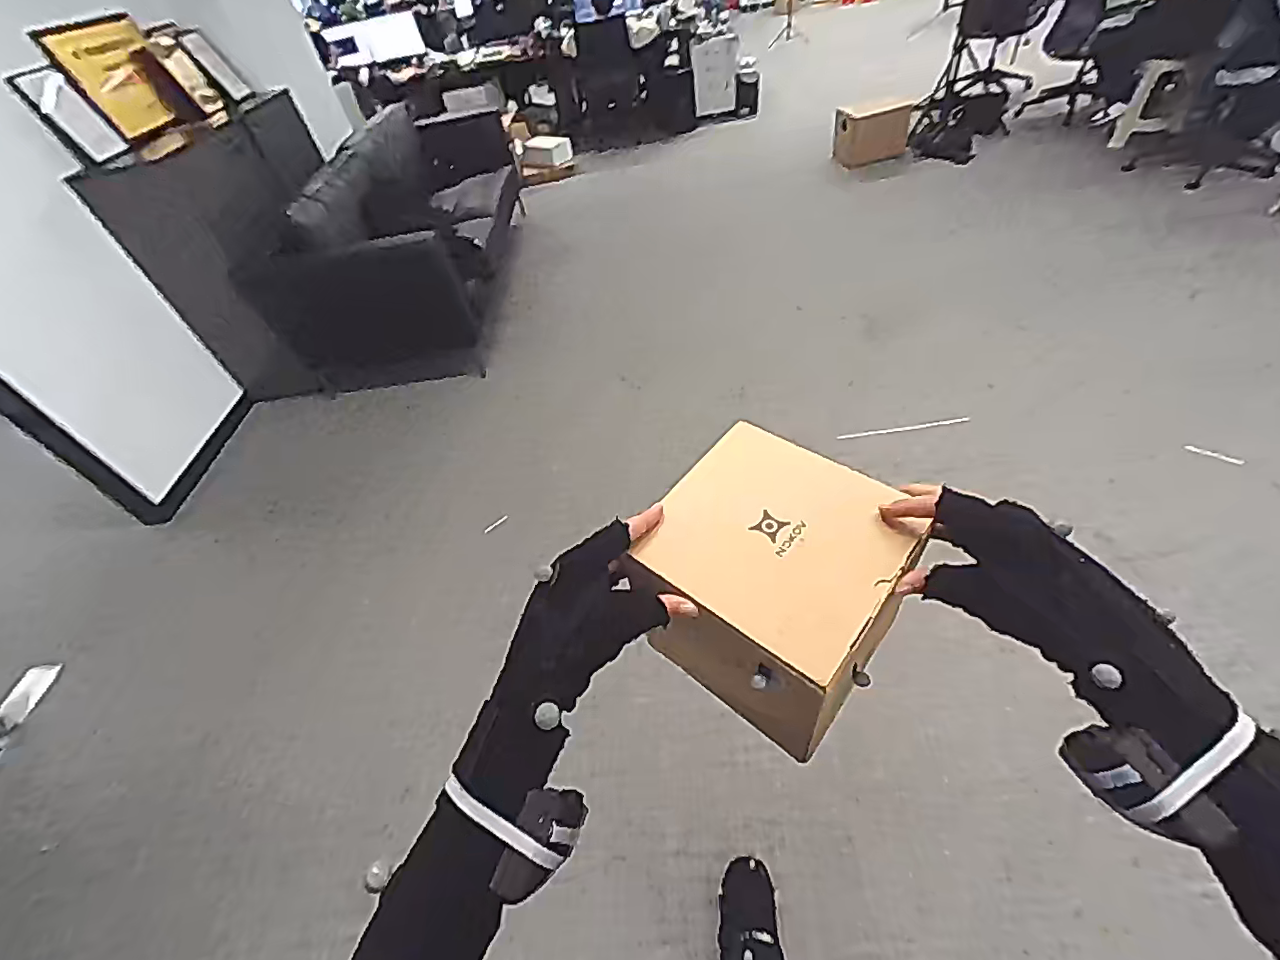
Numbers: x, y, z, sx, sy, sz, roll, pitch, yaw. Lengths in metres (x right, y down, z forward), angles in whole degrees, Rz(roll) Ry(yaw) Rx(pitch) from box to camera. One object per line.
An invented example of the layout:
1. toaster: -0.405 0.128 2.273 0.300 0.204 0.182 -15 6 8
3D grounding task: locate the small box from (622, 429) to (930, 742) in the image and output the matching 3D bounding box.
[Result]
1. small box: 0.110 0.091 0.470 0.179 0.176 0.168 31 61 30
